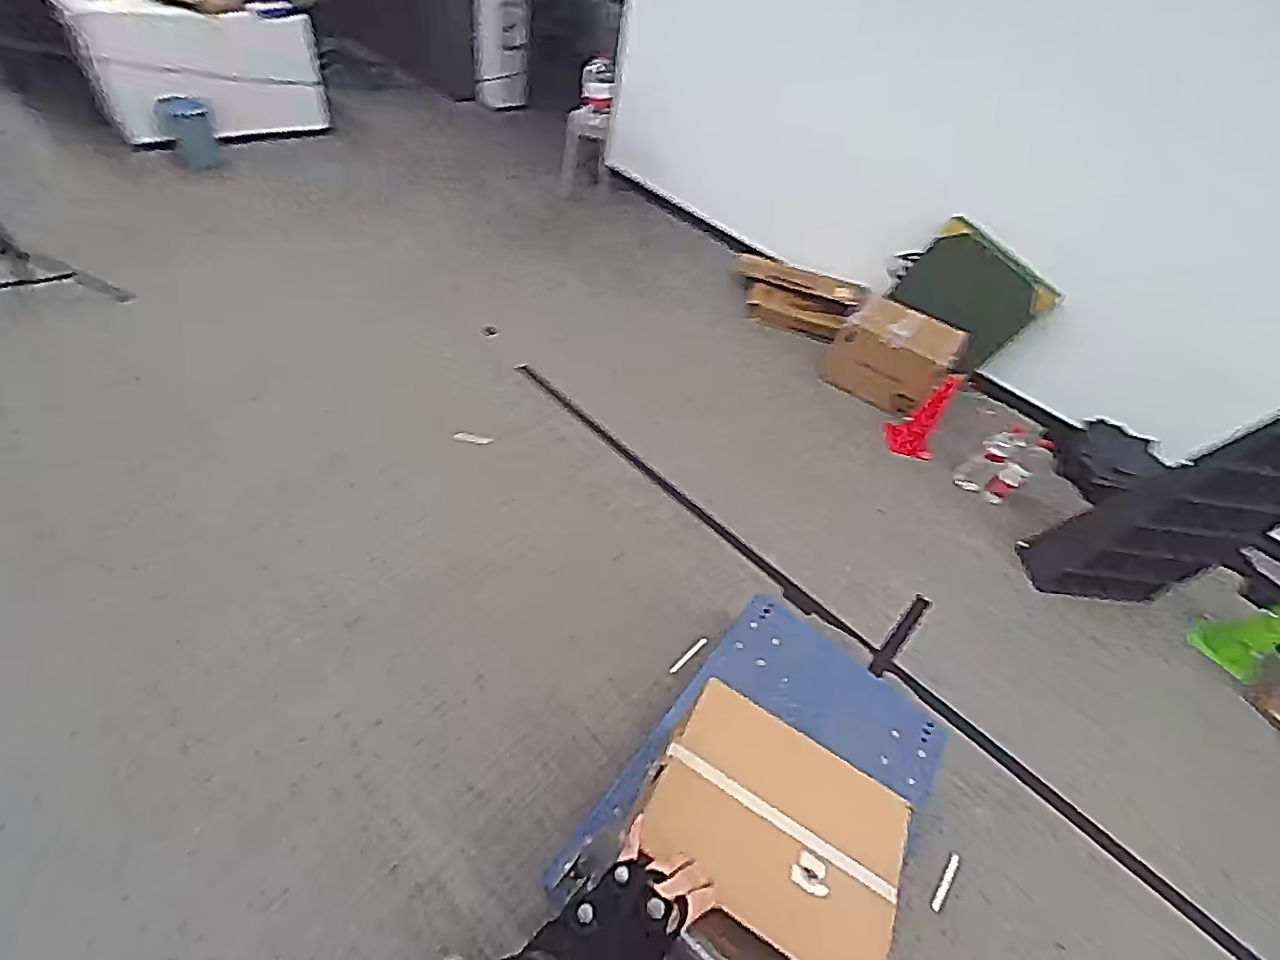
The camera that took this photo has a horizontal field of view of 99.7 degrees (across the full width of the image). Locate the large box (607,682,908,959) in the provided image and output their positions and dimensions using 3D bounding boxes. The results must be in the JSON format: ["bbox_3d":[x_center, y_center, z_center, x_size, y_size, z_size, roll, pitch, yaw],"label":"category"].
[{"bbox_3d":[0.201,0.660,0.999,0.408,0.320,0.320,30,49,11],"label":"large box"}]
